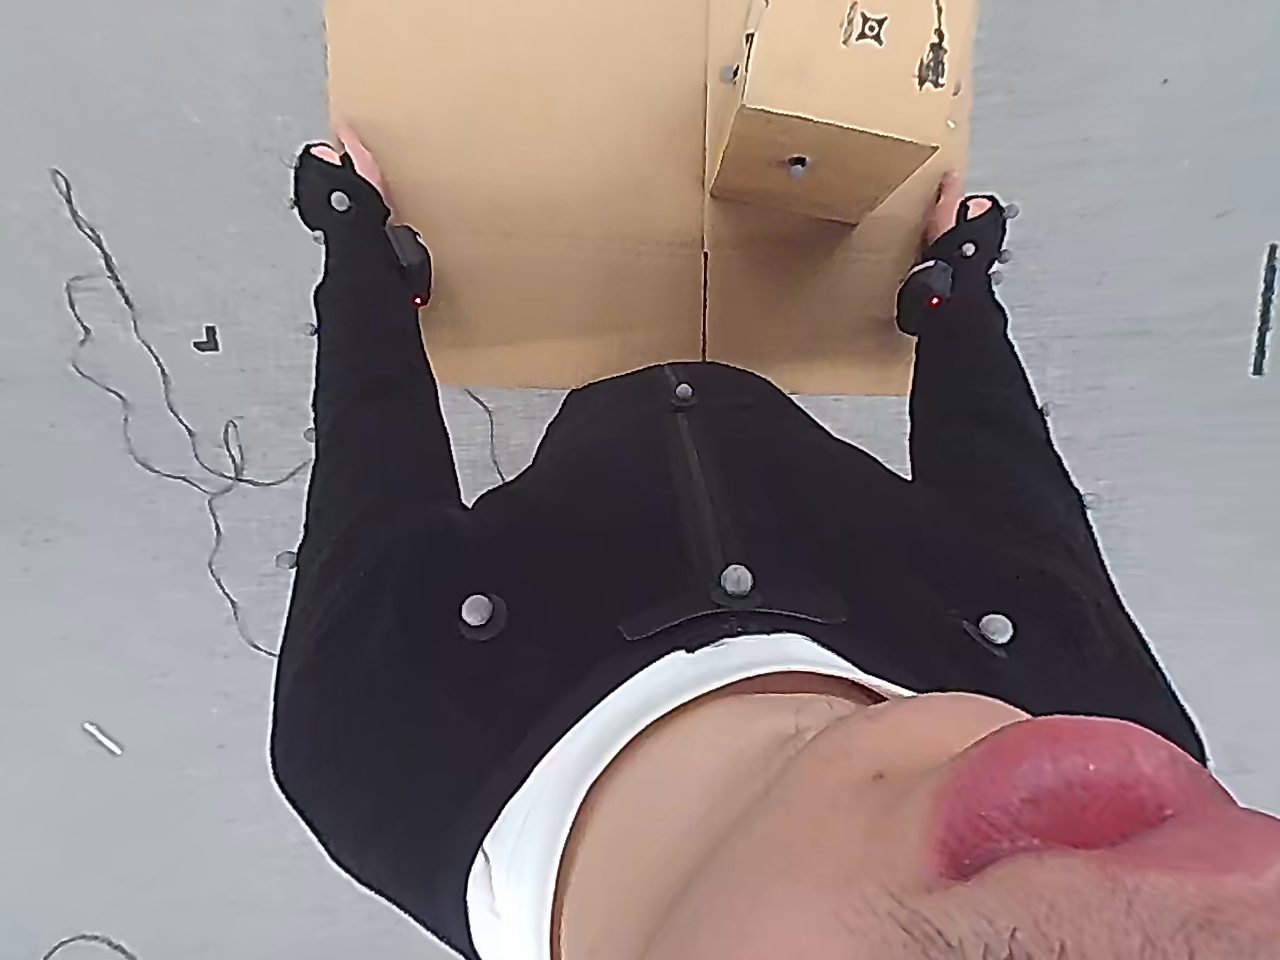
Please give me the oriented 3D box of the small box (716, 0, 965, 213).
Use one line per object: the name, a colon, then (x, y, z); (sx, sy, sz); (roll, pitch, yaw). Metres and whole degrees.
small box: (0.180, -0.388, 0.531); (0.179, 0.176, 0.168); (11, 95, -1)
